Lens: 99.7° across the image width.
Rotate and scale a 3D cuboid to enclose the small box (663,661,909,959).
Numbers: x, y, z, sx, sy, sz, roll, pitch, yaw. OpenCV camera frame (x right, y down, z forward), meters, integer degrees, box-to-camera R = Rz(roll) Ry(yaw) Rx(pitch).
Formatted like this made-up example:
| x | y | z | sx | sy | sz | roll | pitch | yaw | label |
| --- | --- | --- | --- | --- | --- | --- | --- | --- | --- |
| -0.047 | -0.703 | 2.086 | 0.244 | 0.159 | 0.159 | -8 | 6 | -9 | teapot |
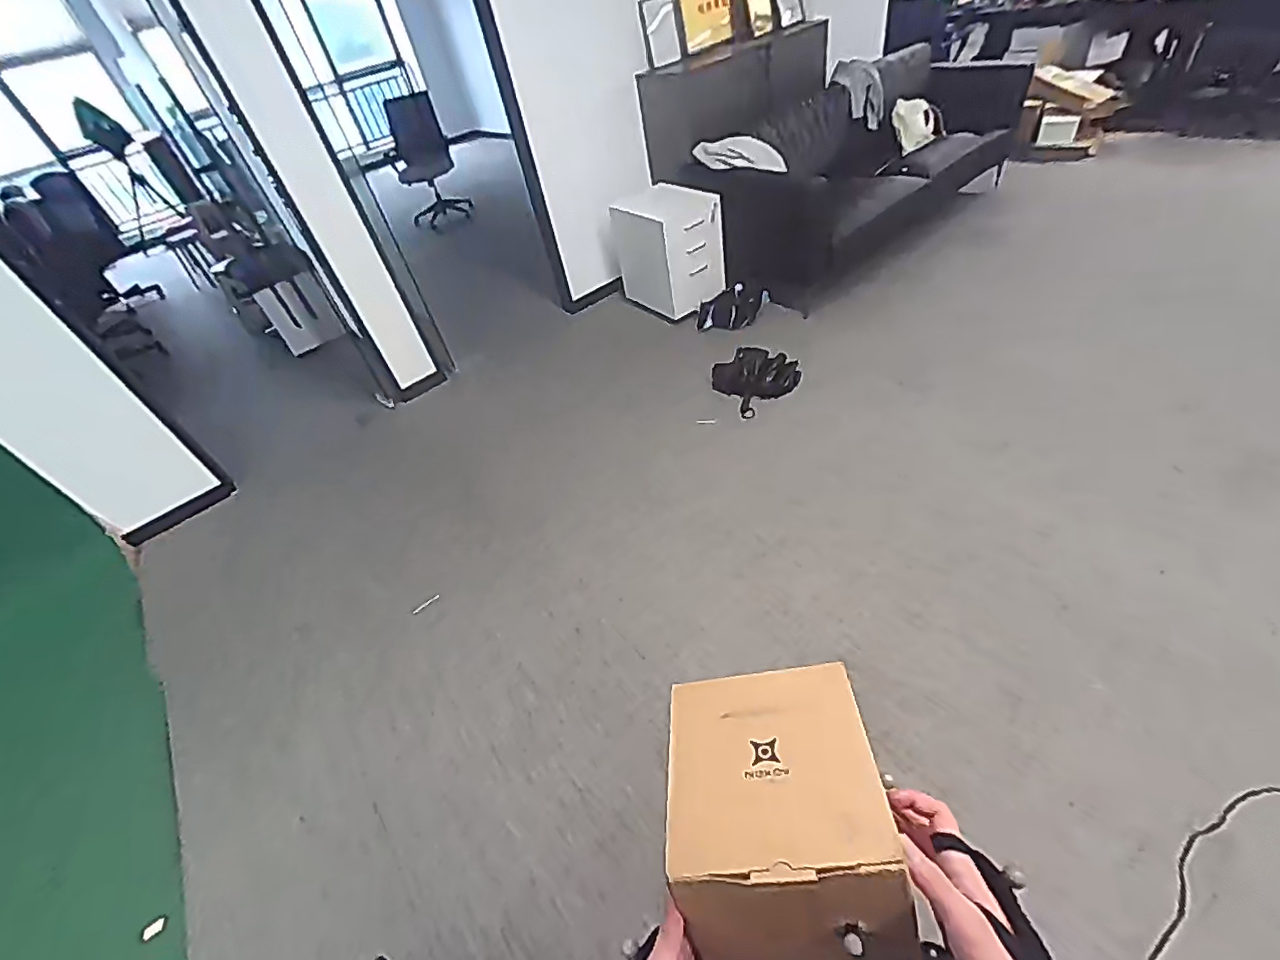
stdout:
| x | y | z | sx | sy | sz | roll | pitch | yaw | label |
| --- | --- | --- | --- | --- | --- | --- | --- | --- | --- |
| 0.122 | 0.294 | 0.476 | 0.168 | 0.176 | 0.179 | -11 | 25 | 10 | small box |
